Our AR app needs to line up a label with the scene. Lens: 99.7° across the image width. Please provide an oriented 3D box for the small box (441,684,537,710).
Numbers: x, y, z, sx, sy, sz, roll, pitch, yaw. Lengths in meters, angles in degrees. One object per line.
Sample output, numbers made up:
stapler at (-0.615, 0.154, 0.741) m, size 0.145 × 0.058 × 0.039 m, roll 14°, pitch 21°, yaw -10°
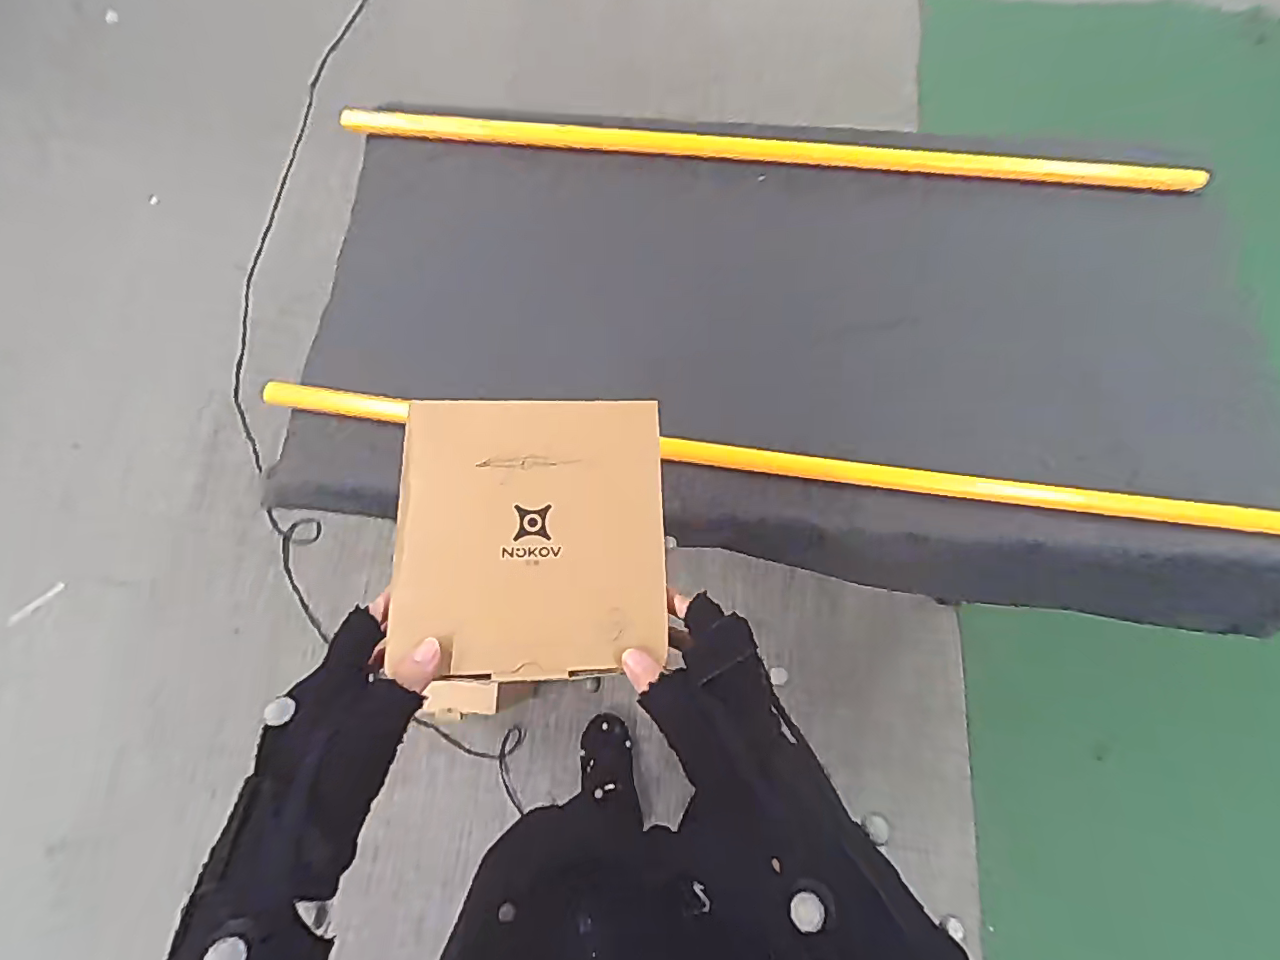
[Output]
small box at (-0.322, 0.406, 1.192) m, size 0.168 × 0.176 × 0.179 m, roll -2°, pitch 72°, yaw 0°

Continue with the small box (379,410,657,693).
small box at (-0.079, 0.061, 0.415) m, size 0.168 × 0.176 × 0.179 m, roll -1°, pitch 72°, yaw -6°
